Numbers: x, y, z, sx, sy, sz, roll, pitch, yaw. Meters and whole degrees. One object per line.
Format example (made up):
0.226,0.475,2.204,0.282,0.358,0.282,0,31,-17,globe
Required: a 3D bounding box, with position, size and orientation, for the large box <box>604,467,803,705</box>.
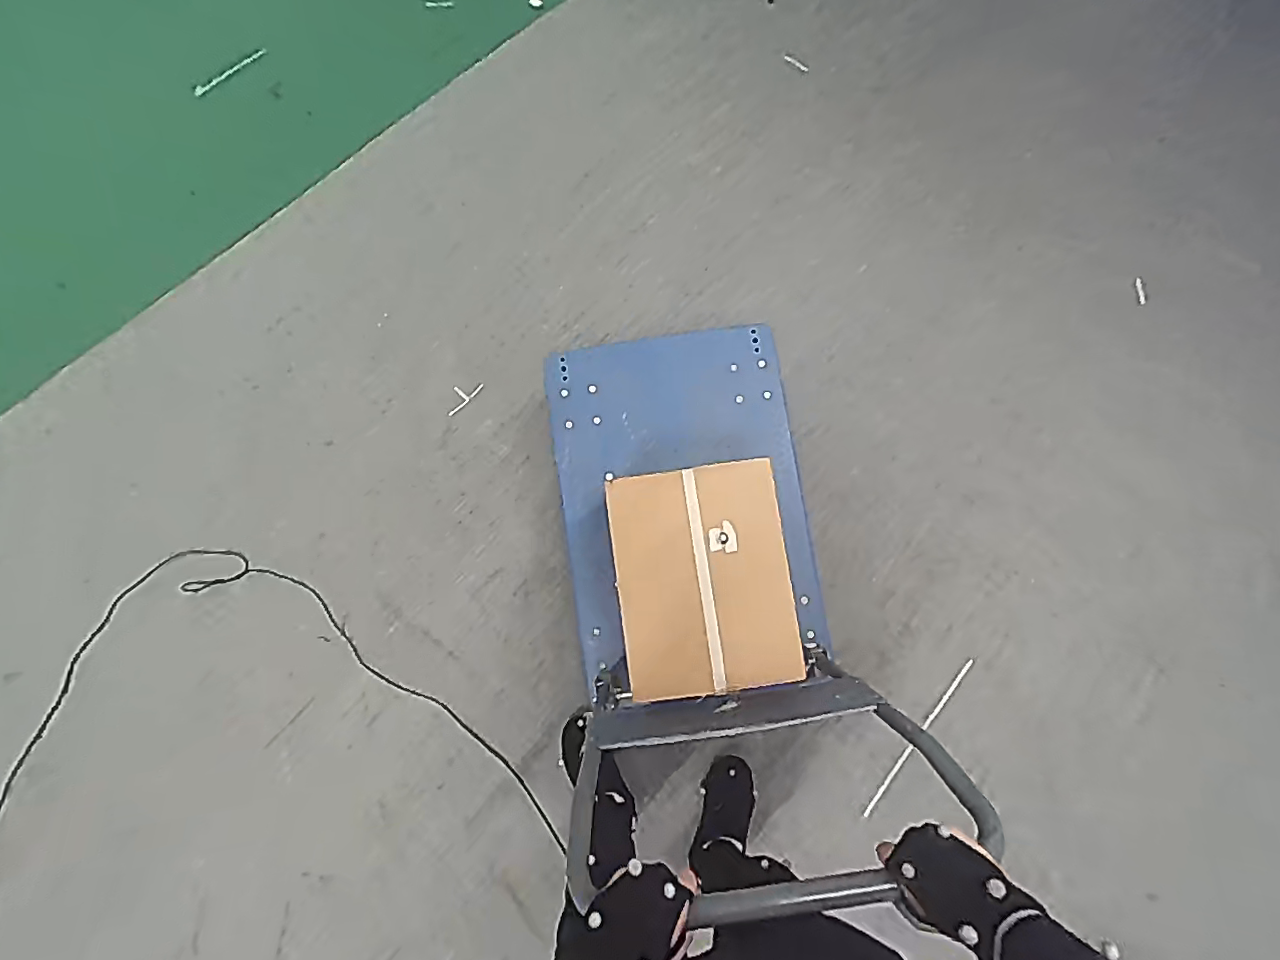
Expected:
0.119,0.212,1.146,0.320,0.320,0.408,-8,82,0,large box
